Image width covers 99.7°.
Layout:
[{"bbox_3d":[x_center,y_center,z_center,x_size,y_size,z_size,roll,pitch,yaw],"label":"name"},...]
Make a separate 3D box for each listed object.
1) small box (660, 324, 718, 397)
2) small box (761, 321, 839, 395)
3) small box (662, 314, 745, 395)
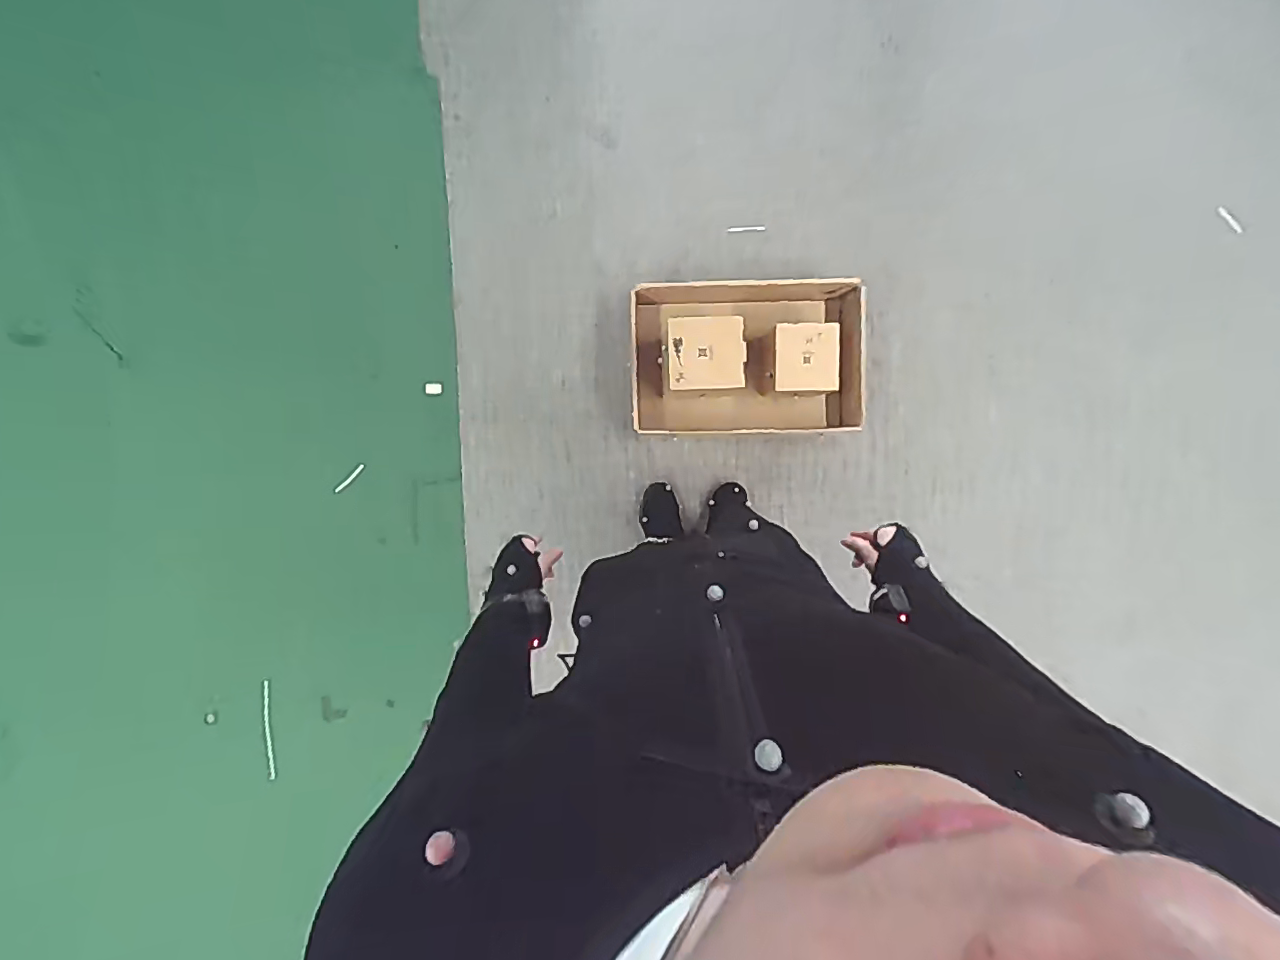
[{"bbox_3d":[0.142,-0.317,1.466,0.168,0.176,0.179,-1,92,0],"label":"small box"},{"bbox_3d":[0.427,-0.325,1.463,0.168,0.176,0.179,0,93,0],"label":"small box"},{"bbox_3d":[0.147,-0.298,1.302,0.179,0.176,0.168,-1,92,-1],"label":"small box"}]
